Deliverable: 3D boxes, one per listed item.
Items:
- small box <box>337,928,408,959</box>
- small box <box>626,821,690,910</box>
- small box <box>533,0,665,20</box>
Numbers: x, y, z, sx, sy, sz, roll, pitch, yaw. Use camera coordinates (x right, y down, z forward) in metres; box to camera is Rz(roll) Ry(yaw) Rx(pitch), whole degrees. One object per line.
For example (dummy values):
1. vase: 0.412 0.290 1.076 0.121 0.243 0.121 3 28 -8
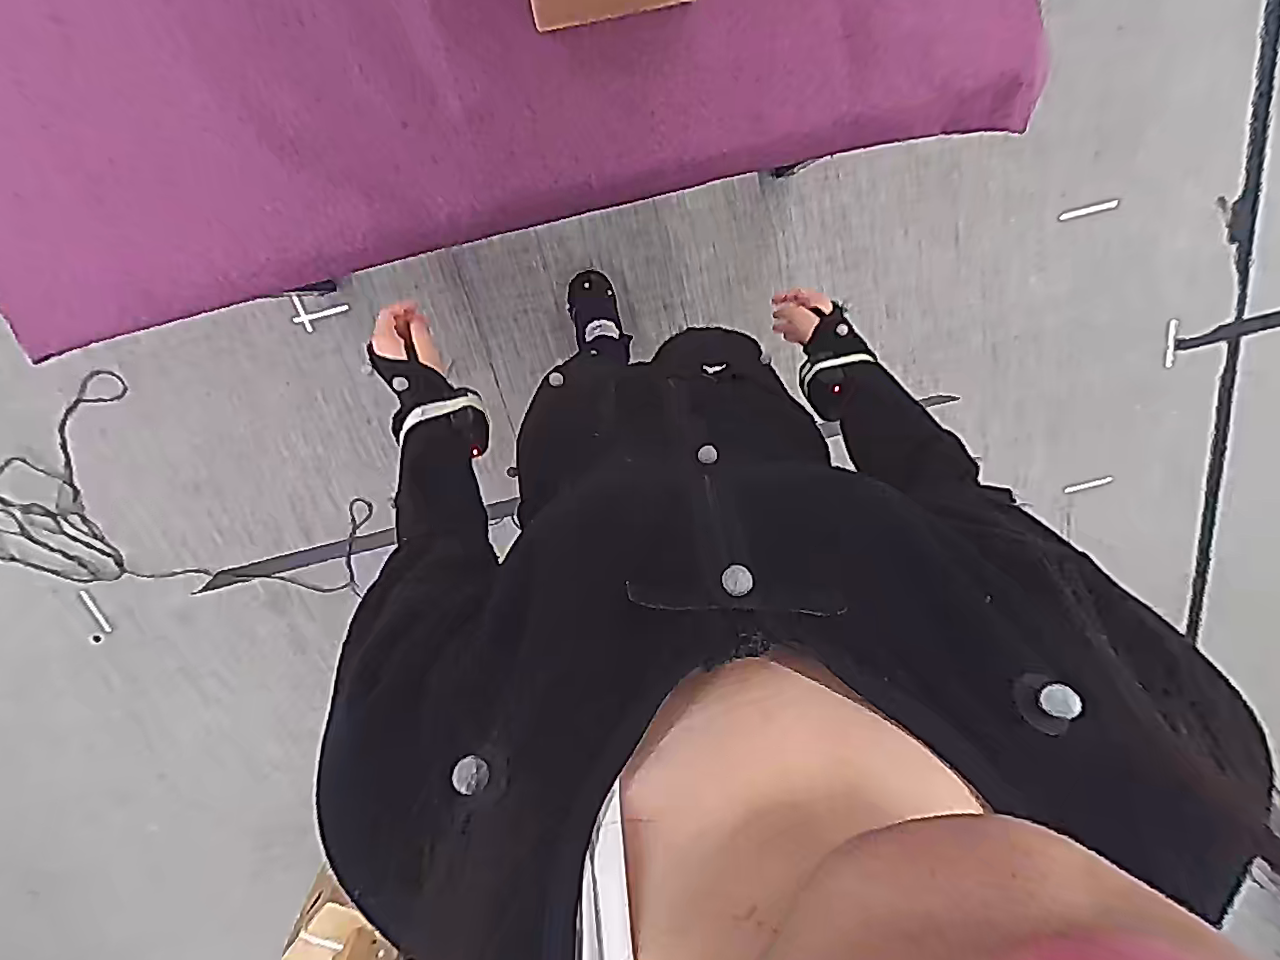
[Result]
1. small box: -0.798 1.448 1.552 0.168 0.176 0.179 32 103 -15
2. small box: 0.060 1.365 1.923 0.168 0.176 0.179 -25 110 1
3. small box: -0.032 -0.541 0.467 0.179 0.176 0.168 -13 111 -2
